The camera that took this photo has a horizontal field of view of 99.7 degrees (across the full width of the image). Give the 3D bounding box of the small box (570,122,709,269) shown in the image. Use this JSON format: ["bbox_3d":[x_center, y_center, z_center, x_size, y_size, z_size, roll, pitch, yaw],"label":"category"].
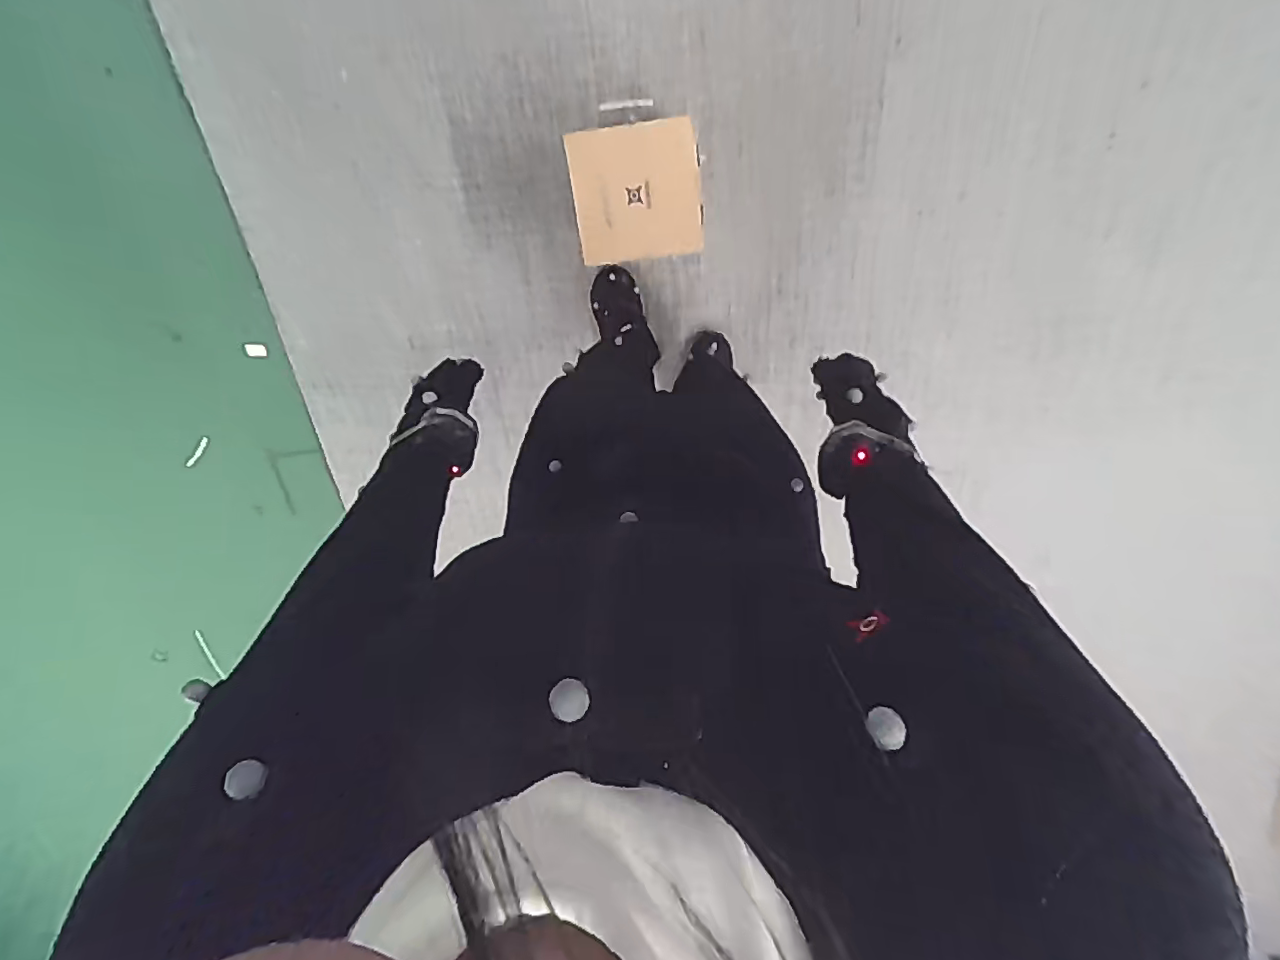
[{"bbox_3d":[0.005,-0.422,0.810,0.179,0.176,0.168,-6,117,6],"label":"small box"}]
